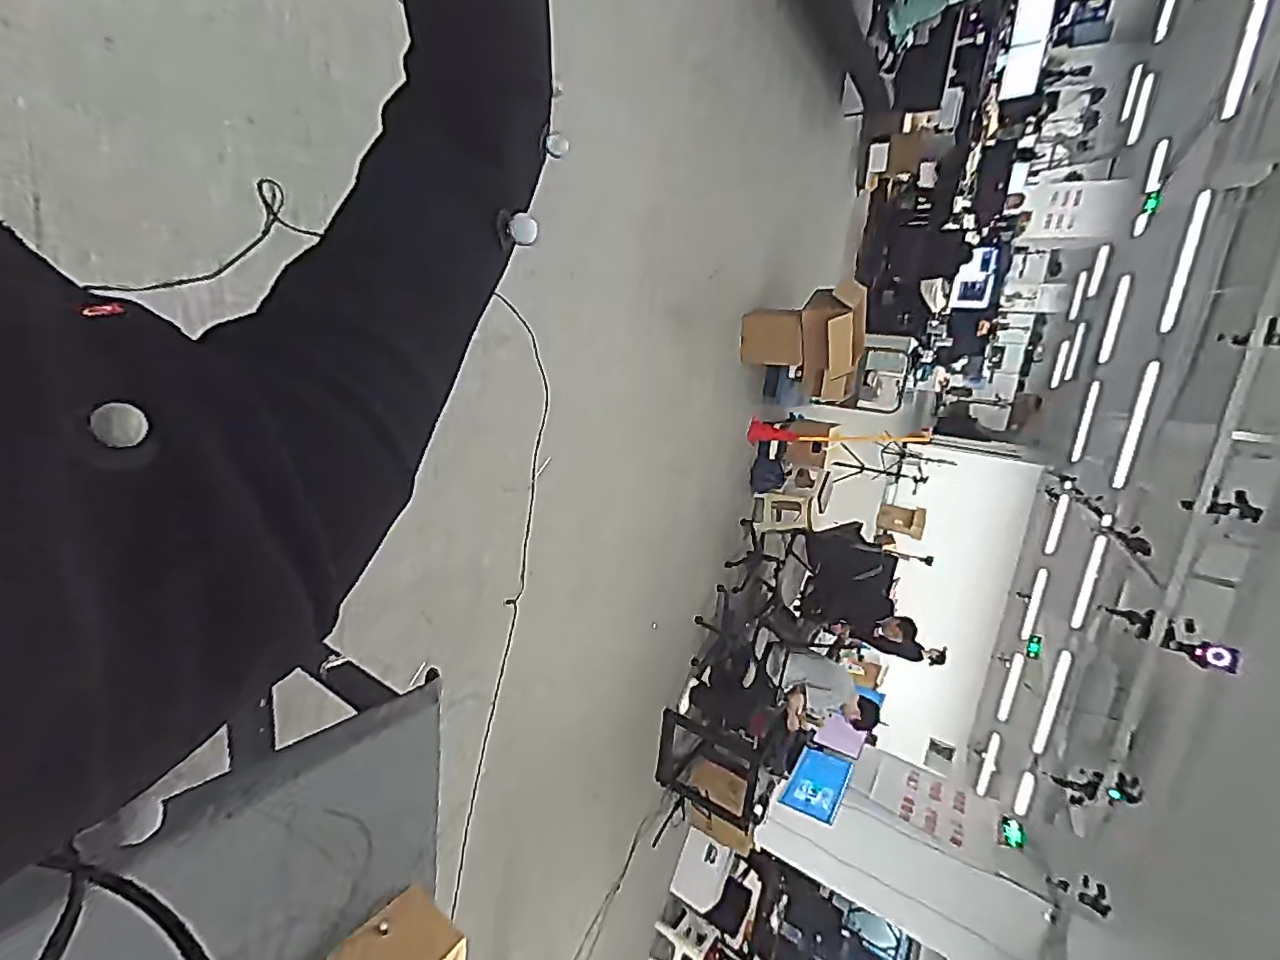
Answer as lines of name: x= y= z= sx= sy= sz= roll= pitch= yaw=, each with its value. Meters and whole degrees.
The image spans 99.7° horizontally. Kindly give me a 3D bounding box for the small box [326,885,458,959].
small box: x=-0.461 y=0.917 z=0.997 sx=0.179 sy=0.176 sz=0.168 roll=-13 pitch=112 yaw=-56
